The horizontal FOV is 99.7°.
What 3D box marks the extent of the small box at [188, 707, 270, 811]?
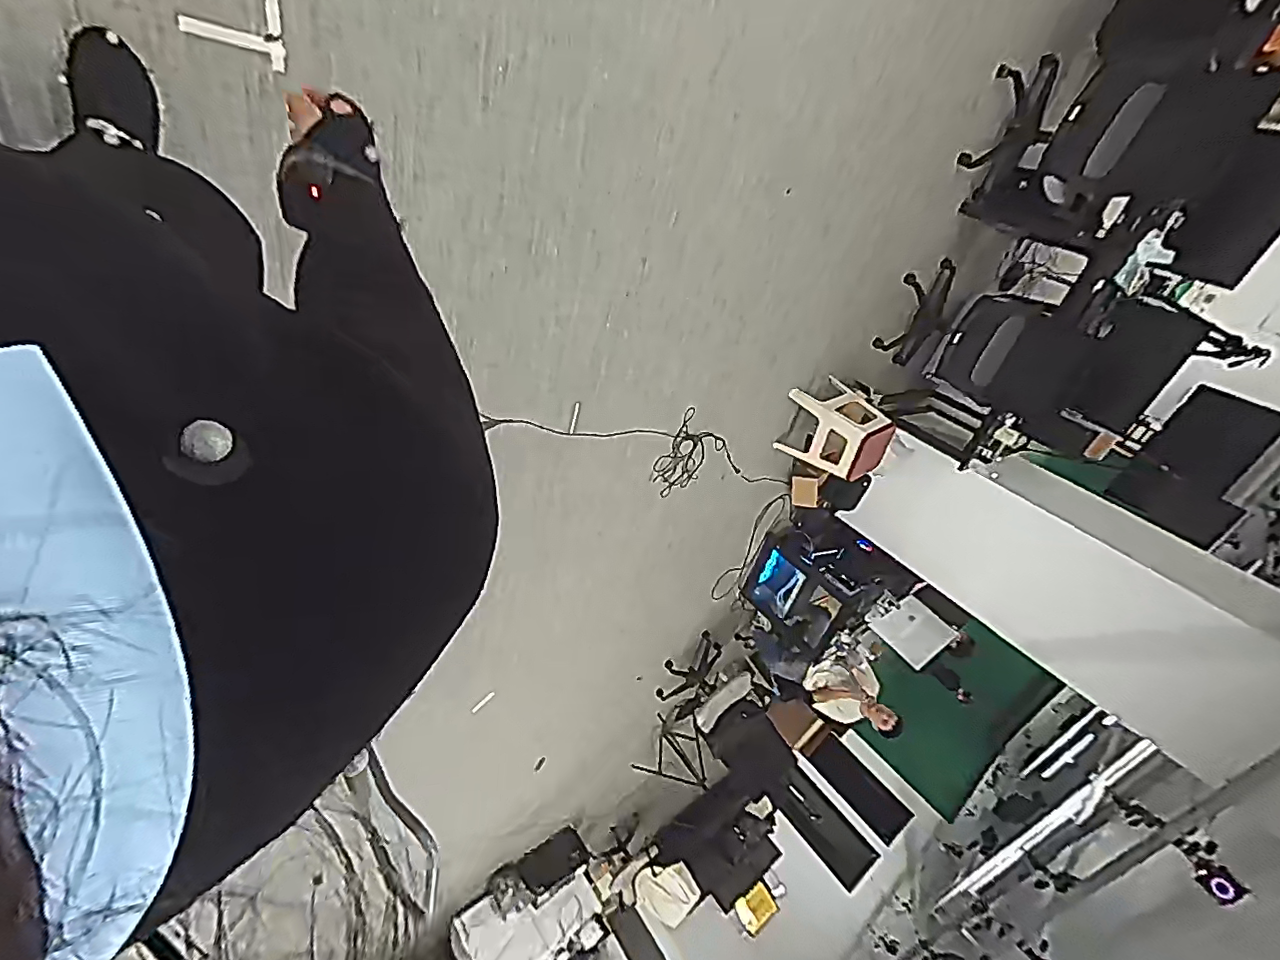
[{"bbox_3d":[-1.181,0.795,1.557,0.168,0.176,0.179,-10,129,-43],"label":"small box"}]
